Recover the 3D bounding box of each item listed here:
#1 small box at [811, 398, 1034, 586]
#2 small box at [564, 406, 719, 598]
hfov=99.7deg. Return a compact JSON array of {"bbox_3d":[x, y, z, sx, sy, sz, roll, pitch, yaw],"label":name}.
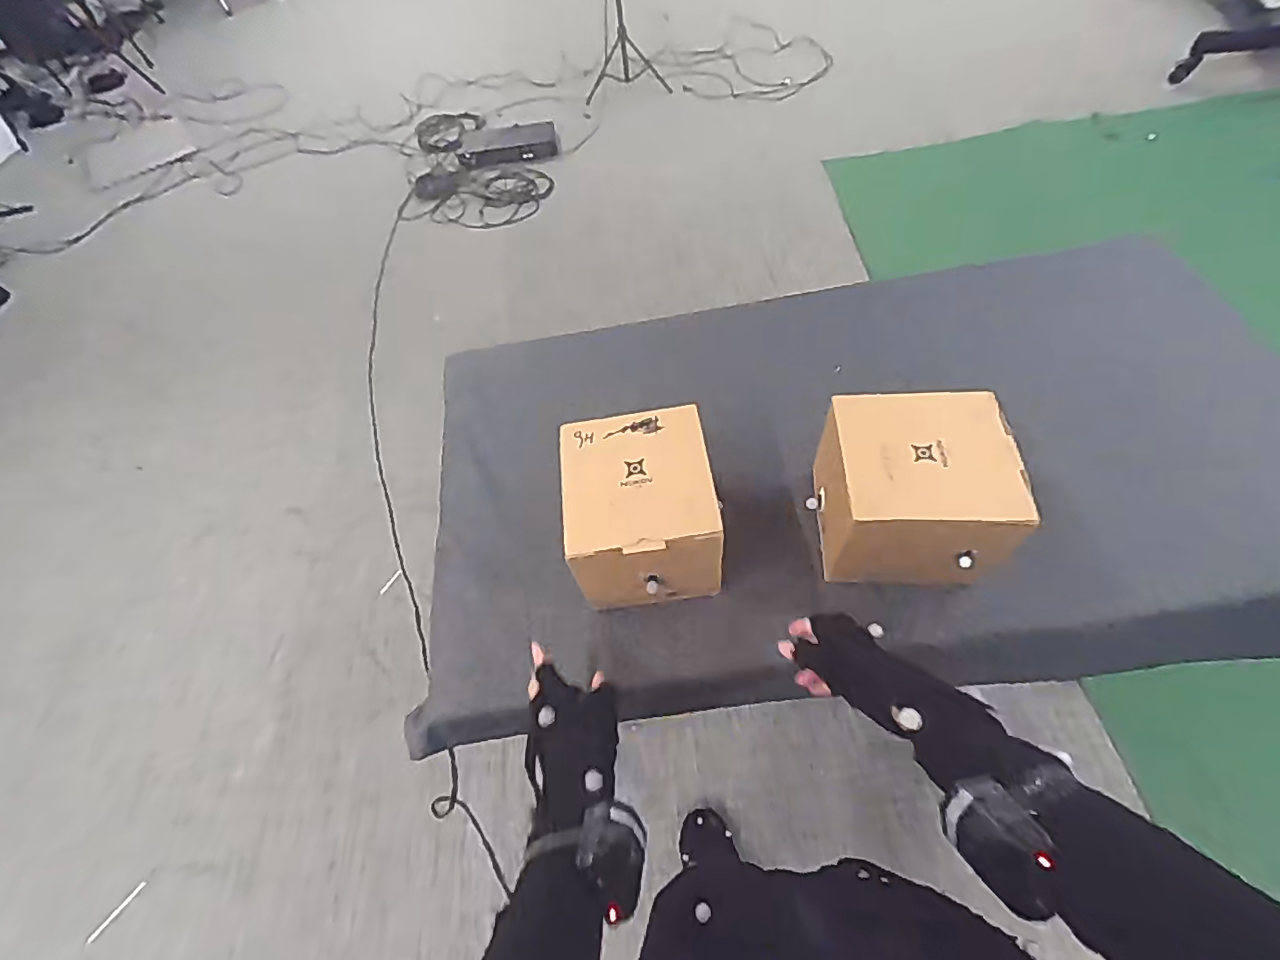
[{"bbox_3d":[0.313,0.020,0.644,0.179,0.176,0.168,-1,58,8],"label":"small box"},{"bbox_3d":[0.005,0.037,0.667,0.168,0.176,0.179,-7,58,2],"label":"small box"}]
